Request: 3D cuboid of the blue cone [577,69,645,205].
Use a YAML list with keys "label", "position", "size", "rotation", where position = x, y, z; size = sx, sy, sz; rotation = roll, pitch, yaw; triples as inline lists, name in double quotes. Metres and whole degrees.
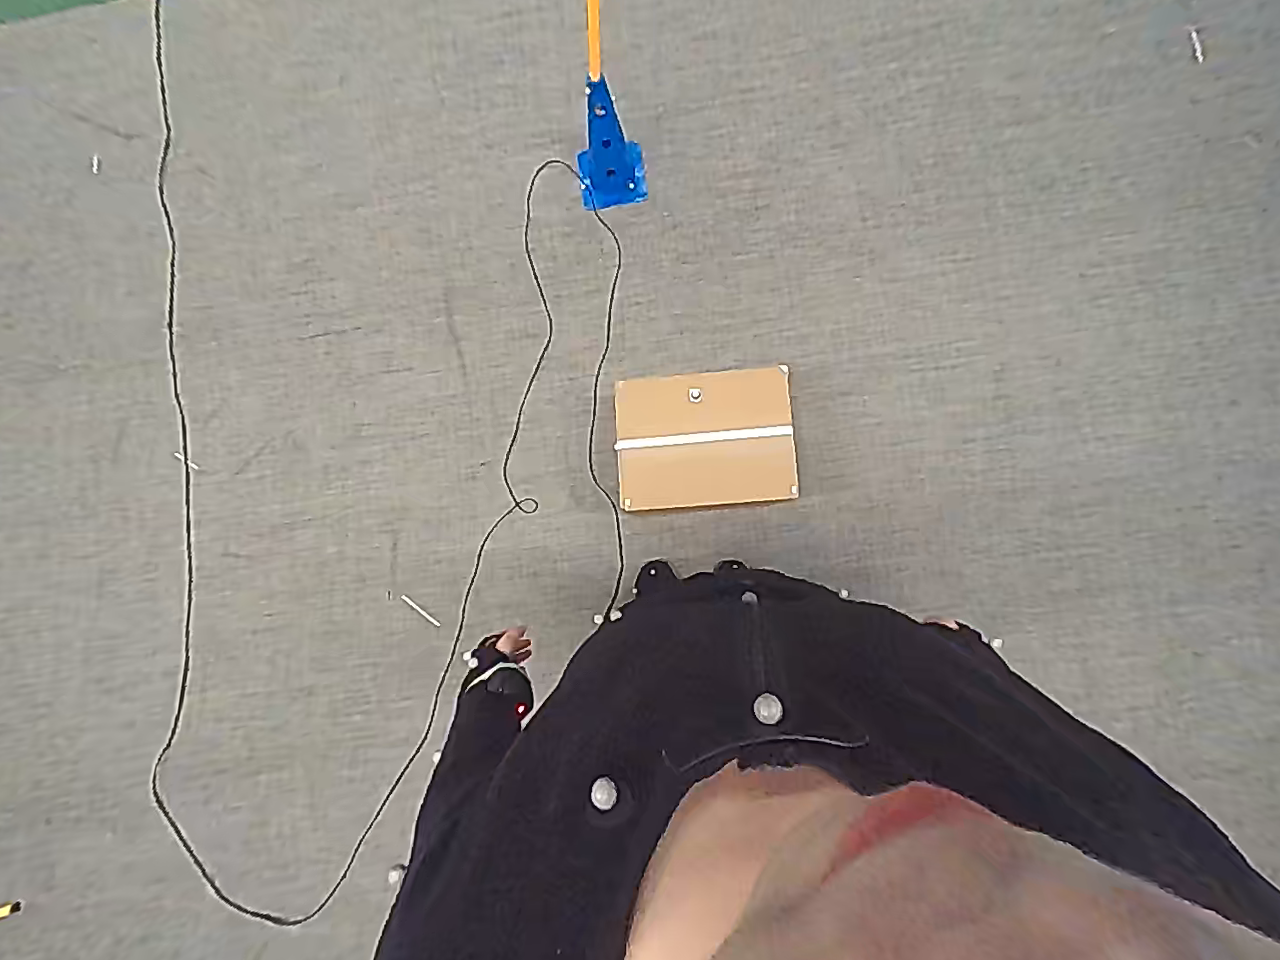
- label: "blue cone"
  position: [-0.097, -0.954, 1.474]
  size: [0.193, 0.380, 0.192]
  rotation: [-11, 83, 1]
